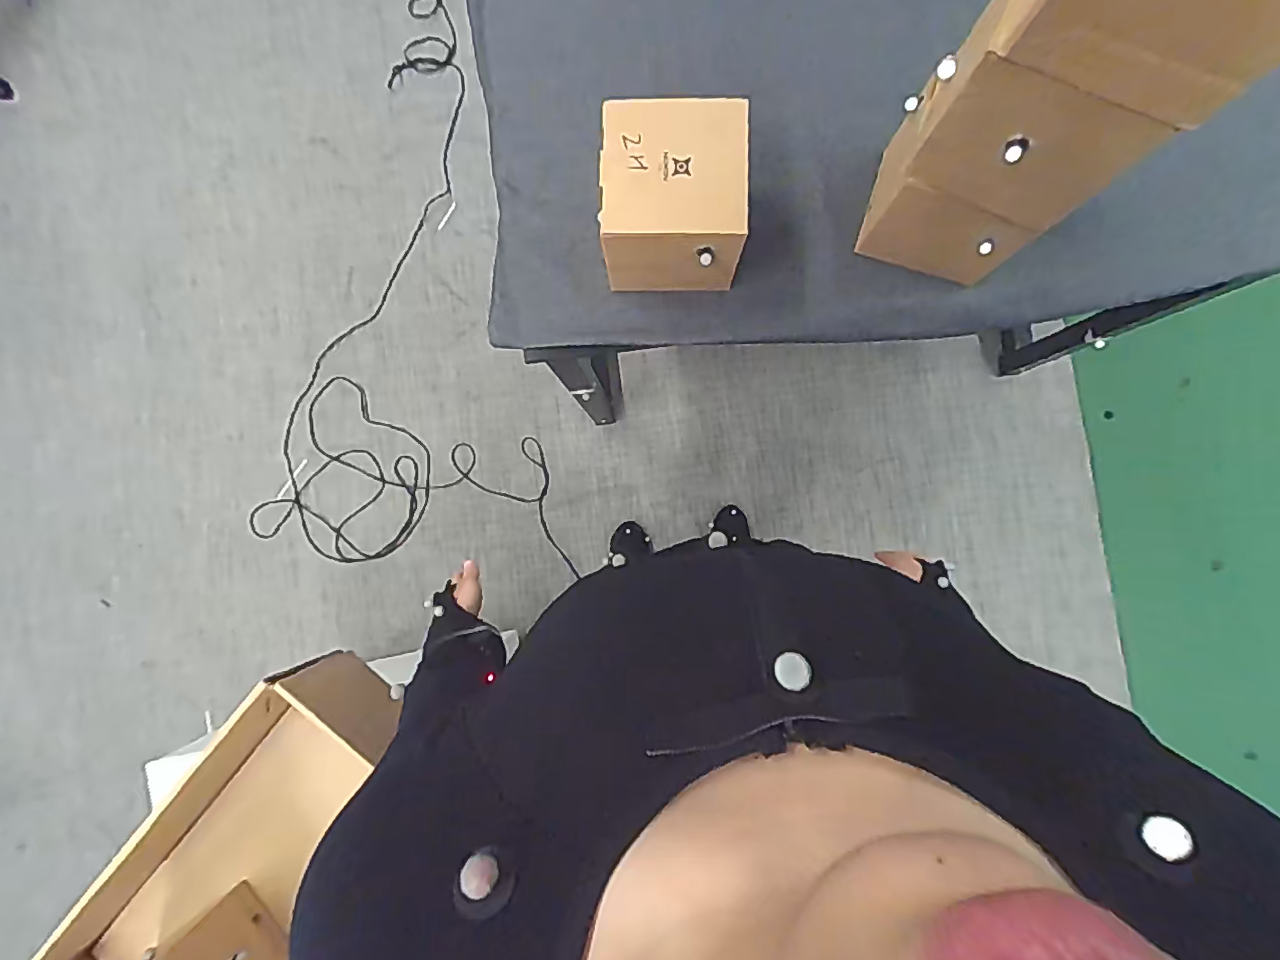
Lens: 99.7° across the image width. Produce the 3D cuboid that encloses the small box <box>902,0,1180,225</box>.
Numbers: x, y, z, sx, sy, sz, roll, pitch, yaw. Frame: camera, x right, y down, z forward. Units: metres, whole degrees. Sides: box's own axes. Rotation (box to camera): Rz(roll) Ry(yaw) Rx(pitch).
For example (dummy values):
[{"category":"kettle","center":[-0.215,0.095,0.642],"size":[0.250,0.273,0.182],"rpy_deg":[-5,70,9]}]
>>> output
[{"category":"small box","center":[0.404,-0.388,0.537],"size":[0.179,0.176,0.168],"rpy_deg":[26,87,5]}]

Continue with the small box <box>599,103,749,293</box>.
[{"category":"small box","center":[0.043,-0.359,0.716],"size":[0.179,0.176,0.168],"rpy_deg":[1,87,3]}]
